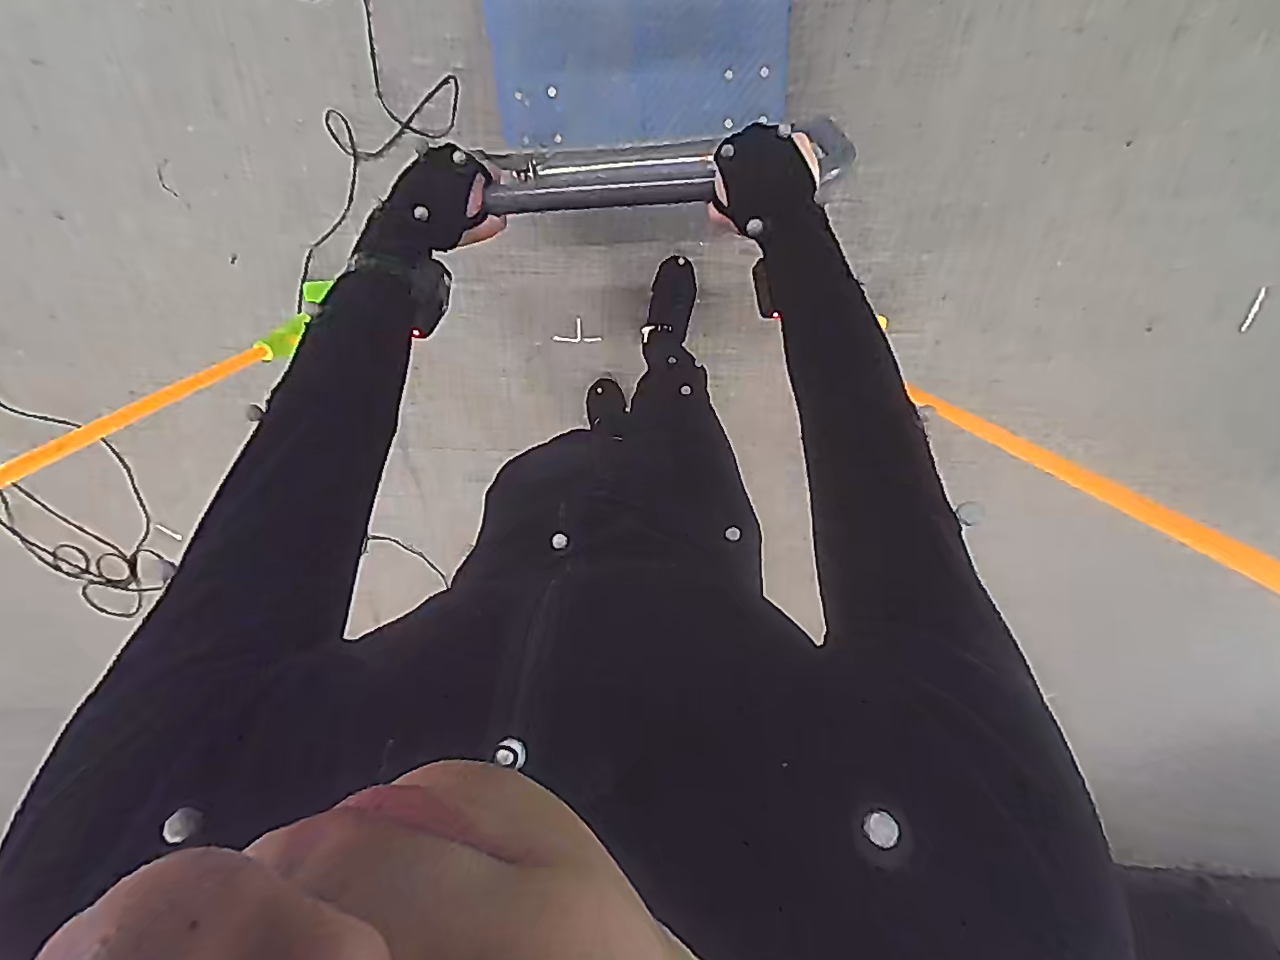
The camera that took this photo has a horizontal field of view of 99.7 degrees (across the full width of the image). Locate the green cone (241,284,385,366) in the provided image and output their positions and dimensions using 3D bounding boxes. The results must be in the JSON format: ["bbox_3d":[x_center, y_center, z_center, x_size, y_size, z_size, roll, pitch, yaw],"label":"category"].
[{"bbox_3d":[-0.816,-0.346,1.310,0.202,0.368,0.200,-1,116,5],"label":"green cone"}]
